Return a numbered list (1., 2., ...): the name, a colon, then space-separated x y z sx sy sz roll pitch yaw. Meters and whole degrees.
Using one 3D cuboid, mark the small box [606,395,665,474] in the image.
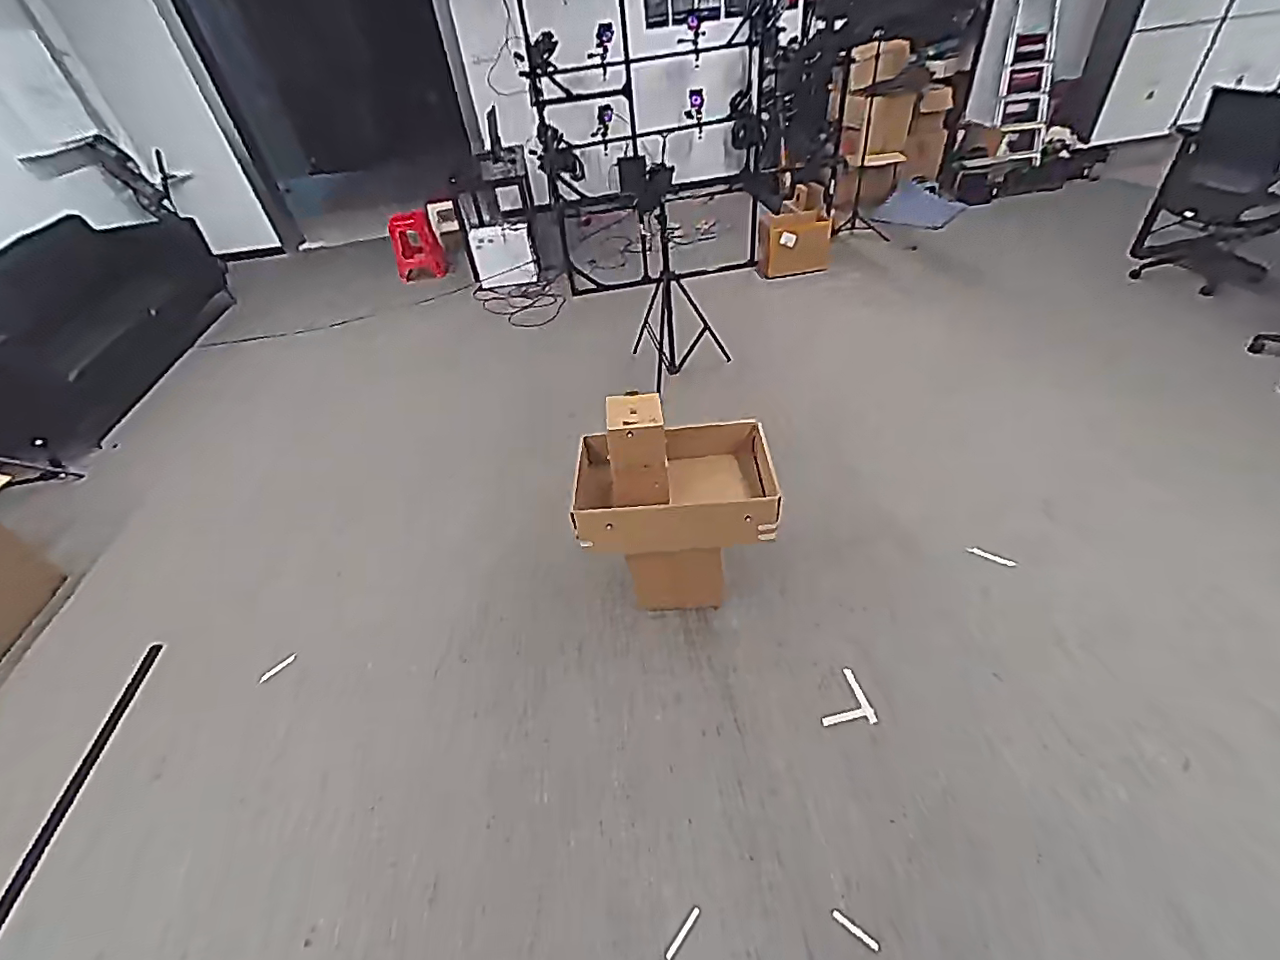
1. small box: -0.014 -0.139 1.646 0.168 0.176 0.179 -5 40 1
